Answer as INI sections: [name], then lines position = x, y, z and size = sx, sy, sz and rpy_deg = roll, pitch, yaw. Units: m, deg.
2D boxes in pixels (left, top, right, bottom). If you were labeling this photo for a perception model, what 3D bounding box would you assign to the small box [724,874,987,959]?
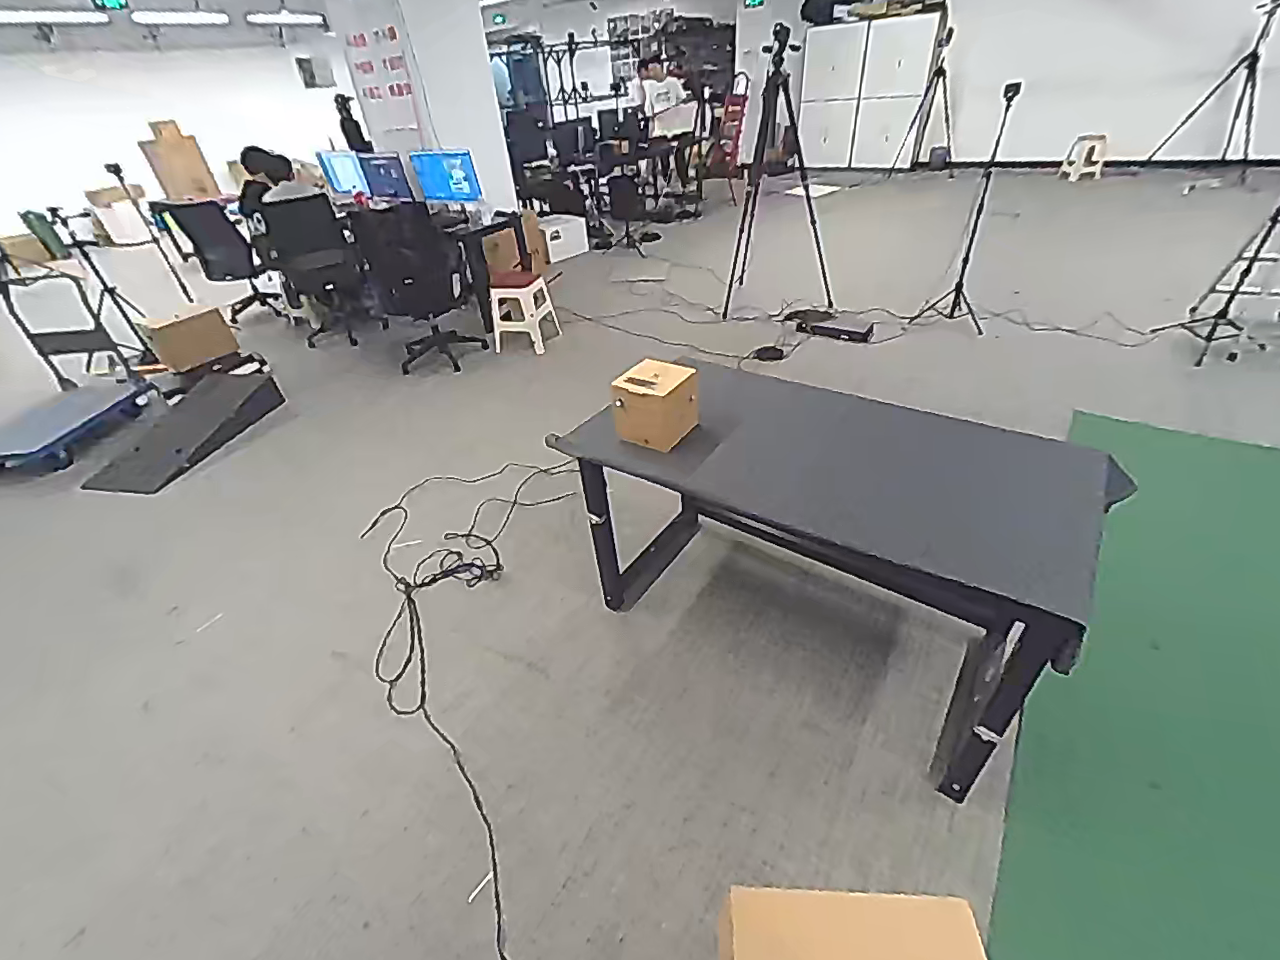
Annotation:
[small box]
position = 0.148, 0.408, 0.382
size = 0.168, 0.176, 0.179
rpy_deg = 0, 44, 5
